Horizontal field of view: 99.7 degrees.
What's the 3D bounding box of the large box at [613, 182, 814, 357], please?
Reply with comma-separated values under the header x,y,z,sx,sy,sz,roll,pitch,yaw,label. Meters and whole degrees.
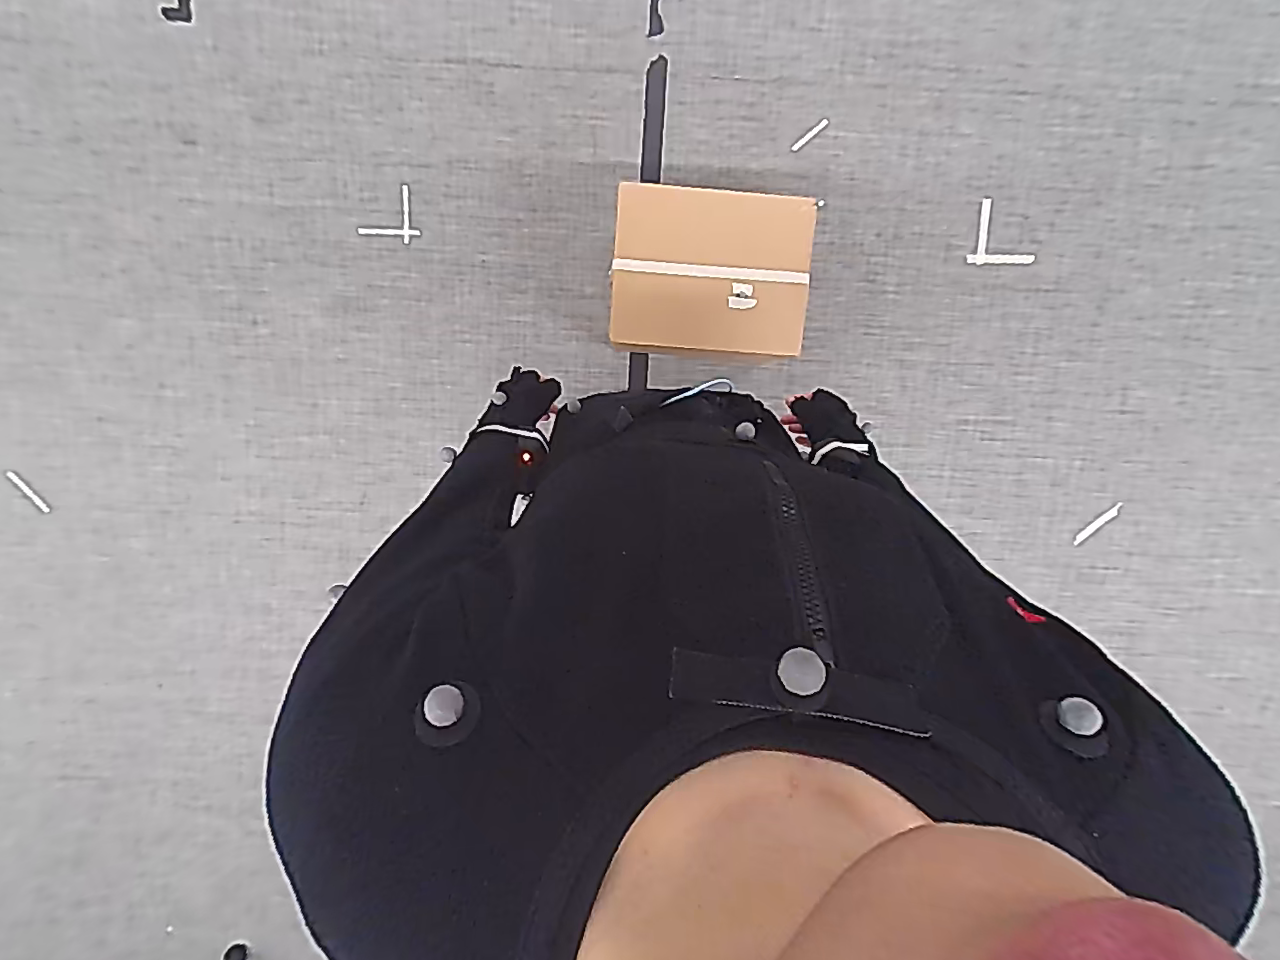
x,y,z,sx,sy,sz,roll,pitch,yaw,label
0.142,-0.463,1.267,0.408,0.320,0.320,4,101,-3,large box
